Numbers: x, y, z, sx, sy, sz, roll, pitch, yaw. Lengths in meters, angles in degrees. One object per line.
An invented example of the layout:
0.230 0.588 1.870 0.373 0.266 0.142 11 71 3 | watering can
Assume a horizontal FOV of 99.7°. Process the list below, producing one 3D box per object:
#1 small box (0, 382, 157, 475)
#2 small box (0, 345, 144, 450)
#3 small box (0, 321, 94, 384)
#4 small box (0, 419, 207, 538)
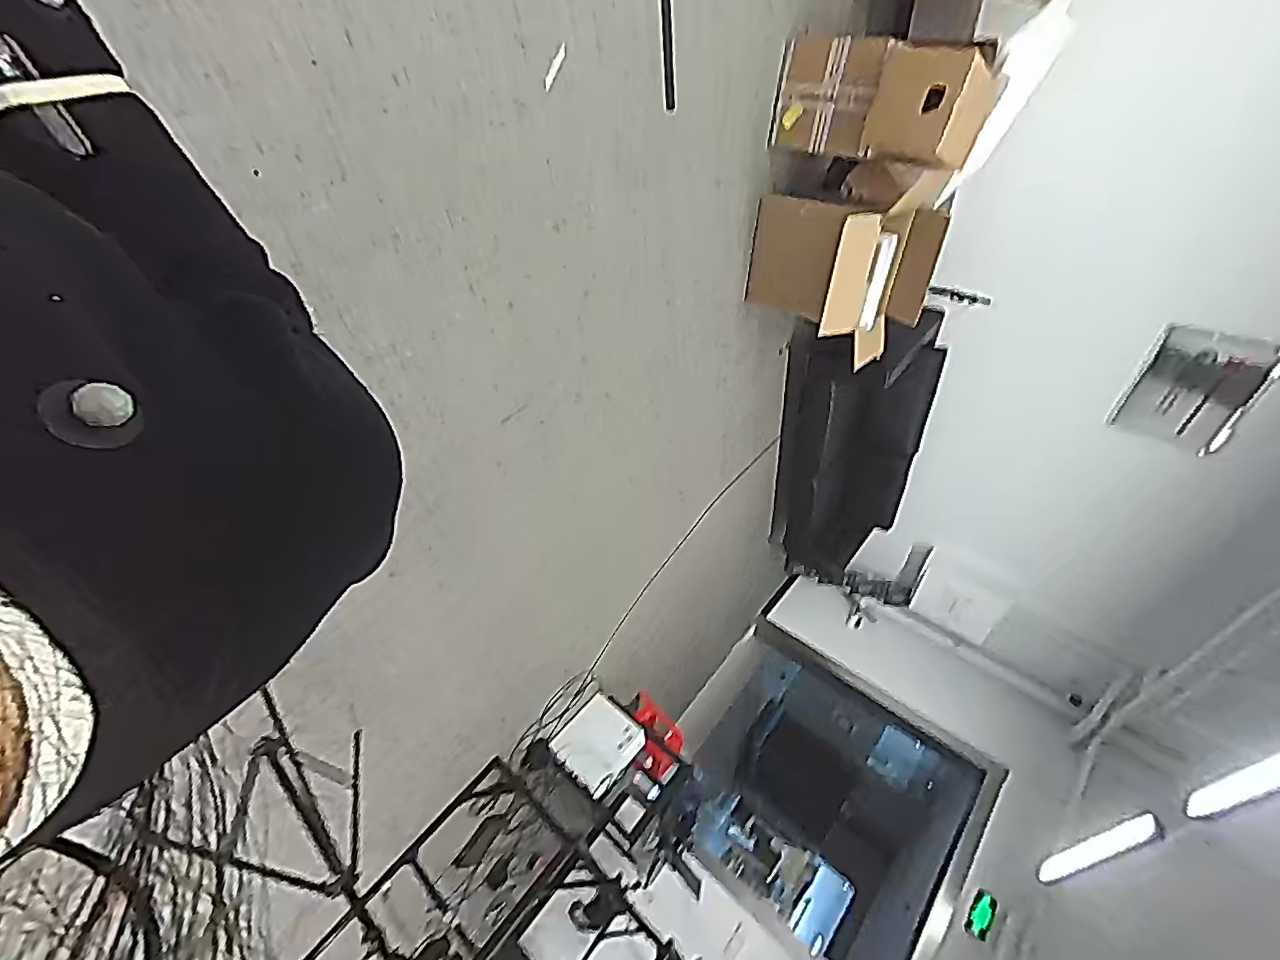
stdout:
-0.884 -0.030 0.817 0.168 0.176 0.179 -41 143 -31 | small box
-1.002 -0.104 0.902 0.179 0.176 0.168 -41 143 -32 | small box
-1.131 -0.165 0.985 0.179 0.176 0.168 -42 144 -30 | small box
-0.757 0.036 0.736 0.168 0.176 0.179 -42 145 -31 | small box
